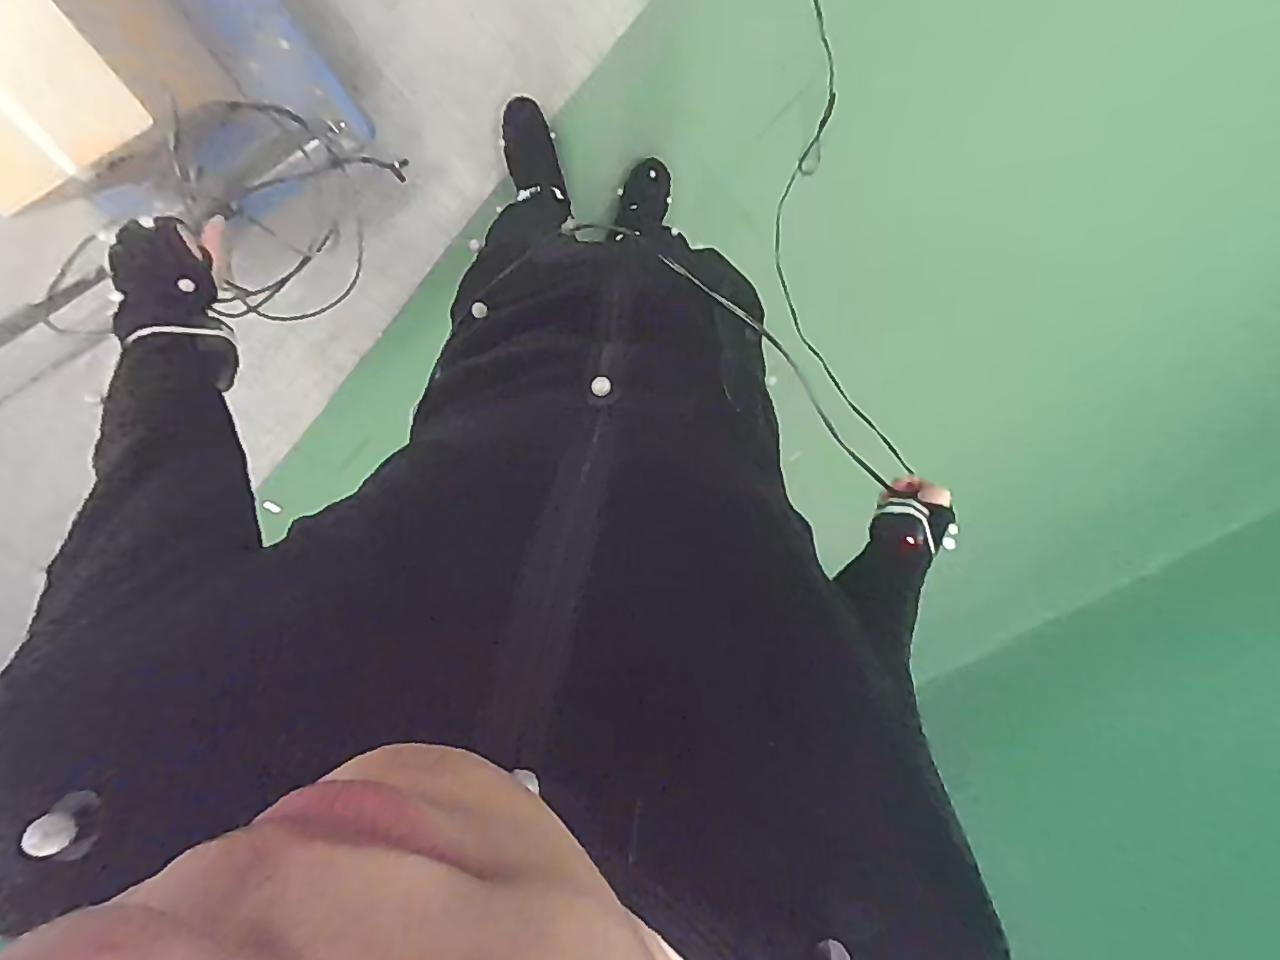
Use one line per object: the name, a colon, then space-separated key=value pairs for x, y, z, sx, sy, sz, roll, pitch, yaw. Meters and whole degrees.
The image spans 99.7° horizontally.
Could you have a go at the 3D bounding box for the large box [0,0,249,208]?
large box: x=-0.920 y=-0.696 z=0.799 sx=0.320 sy=0.320 sz=0.408 roll=-22 pitch=127 yaw=9
